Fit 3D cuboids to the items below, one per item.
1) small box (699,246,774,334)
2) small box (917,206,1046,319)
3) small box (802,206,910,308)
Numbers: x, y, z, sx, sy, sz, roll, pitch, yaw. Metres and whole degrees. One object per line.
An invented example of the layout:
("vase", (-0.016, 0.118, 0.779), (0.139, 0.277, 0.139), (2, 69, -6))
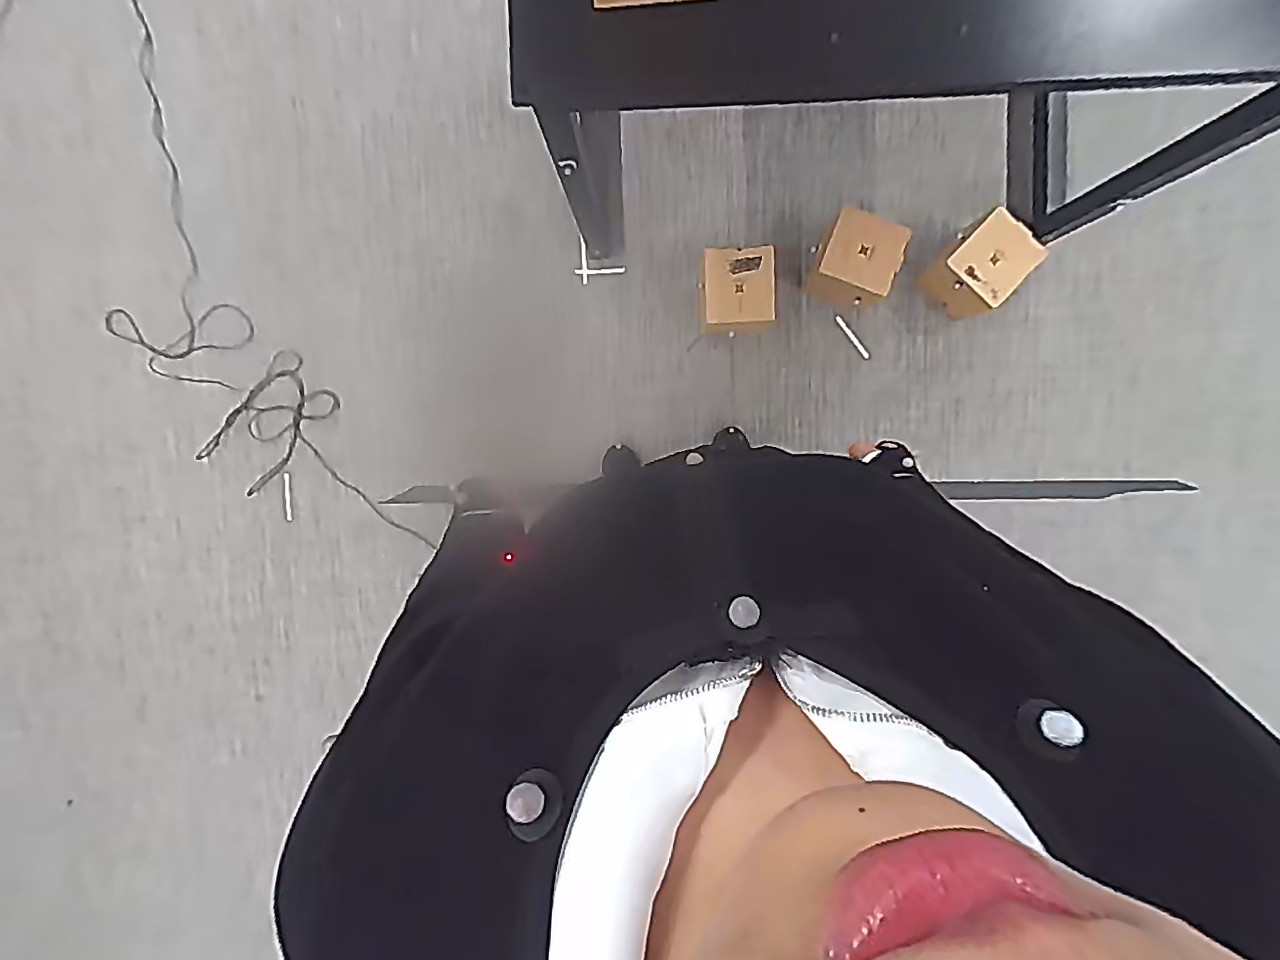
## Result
("small box", (0.240, -0.476, 1.371), (0.168, 0.176, 0.179), (-2, 96, 2))
("small box", (0.835, -0.530, 1.344), (0.168, 0.176, 0.179), (42, 95, -2))
("small box", (0.532, -0.547, 1.356), (0.179, 0.176, 0.168), (20, 95, 1))
